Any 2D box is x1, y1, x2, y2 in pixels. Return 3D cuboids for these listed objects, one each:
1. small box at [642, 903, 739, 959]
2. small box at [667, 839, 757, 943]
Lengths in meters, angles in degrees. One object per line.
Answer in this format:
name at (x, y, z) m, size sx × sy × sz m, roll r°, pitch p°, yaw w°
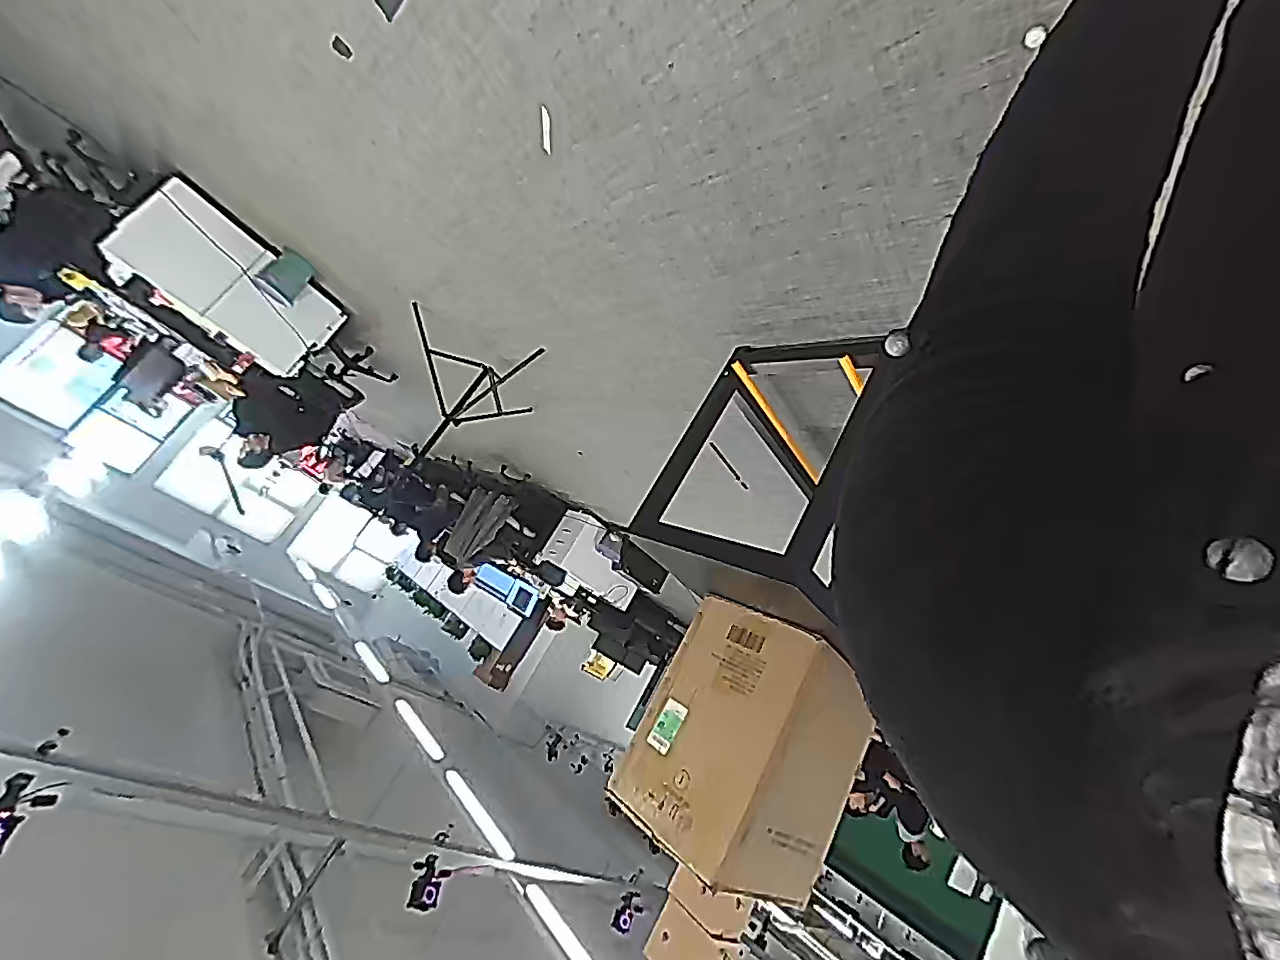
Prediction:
small box at (0.145, 1.325, 1.516) m, size 0.179 × 0.176 × 0.168 m, roll 9°, pitch 153°, yaw 51°
small box at (0.218, 1.190, 1.573) m, size 0.179 × 0.176 × 0.168 m, roll 10°, pitch 152°, yaw 50°
